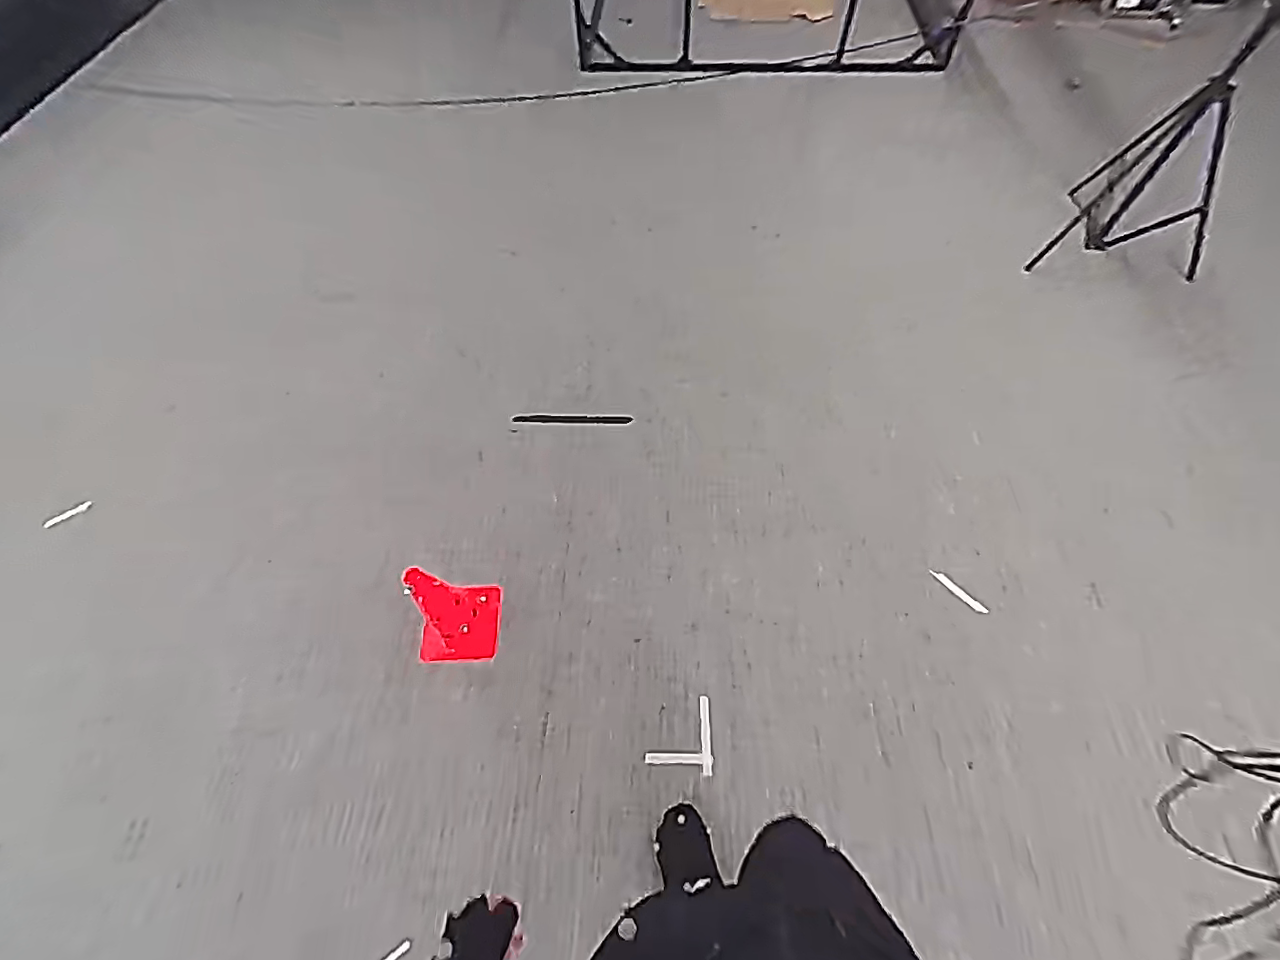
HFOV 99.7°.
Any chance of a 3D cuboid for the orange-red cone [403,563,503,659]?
[{"bbox_3d":[-0.478,0.284,1.286,0.199,0.360,0.198,-2,58,2],"label":"orange-red cone"}]
